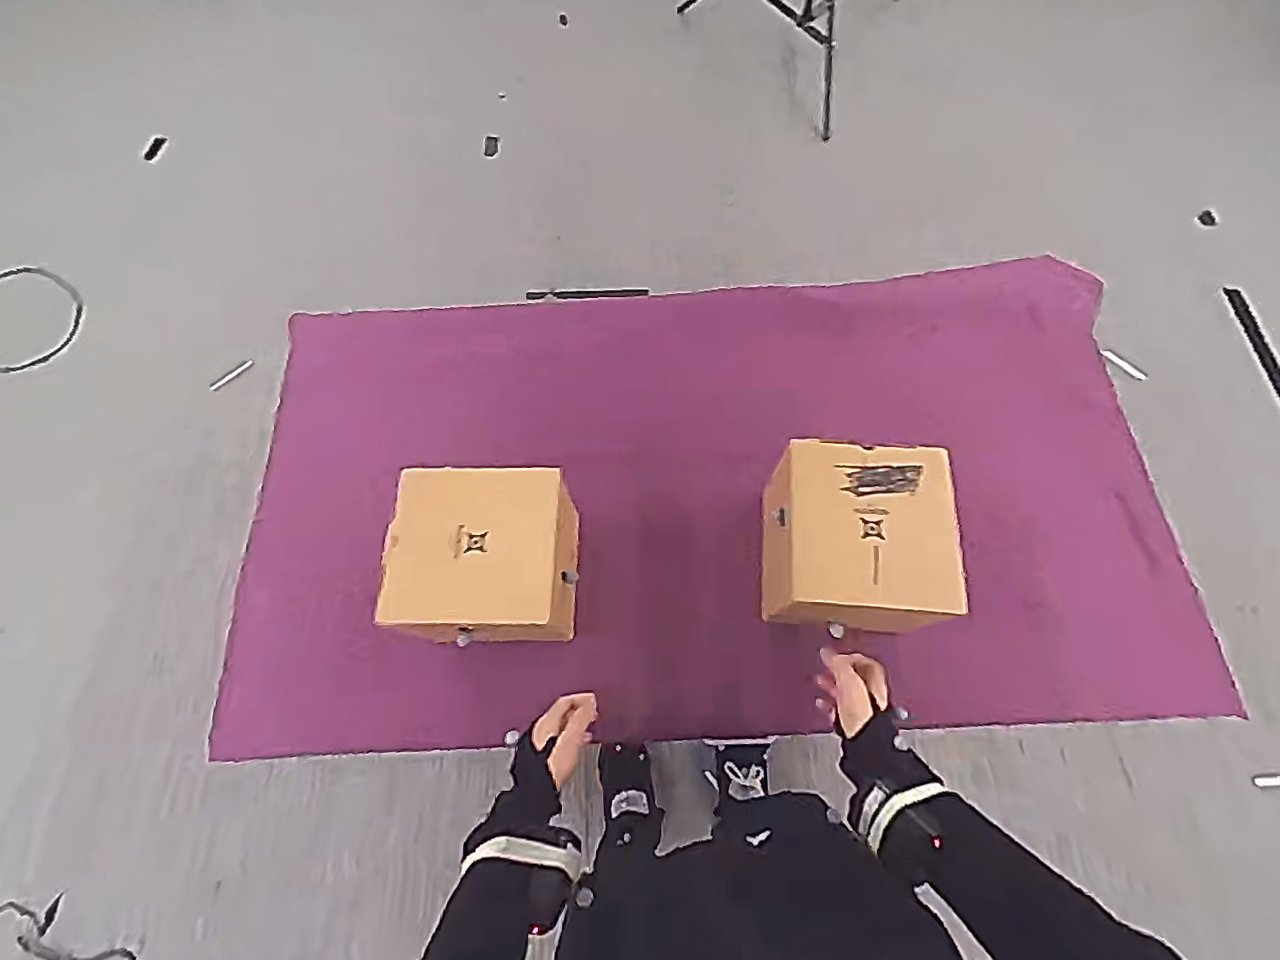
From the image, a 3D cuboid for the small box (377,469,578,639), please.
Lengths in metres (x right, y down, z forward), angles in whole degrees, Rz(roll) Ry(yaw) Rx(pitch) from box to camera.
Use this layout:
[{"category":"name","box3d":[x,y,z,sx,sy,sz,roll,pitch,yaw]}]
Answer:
[{"category":"small box","box3d":[-0.171,0.093,0.633,0.179,0.176,0.168,0,69,2]}]

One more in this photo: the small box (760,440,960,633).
[{"category":"small box","box3d":[0.236,0.073,0.625,0.168,0.176,0.179,5,70,4]}]
